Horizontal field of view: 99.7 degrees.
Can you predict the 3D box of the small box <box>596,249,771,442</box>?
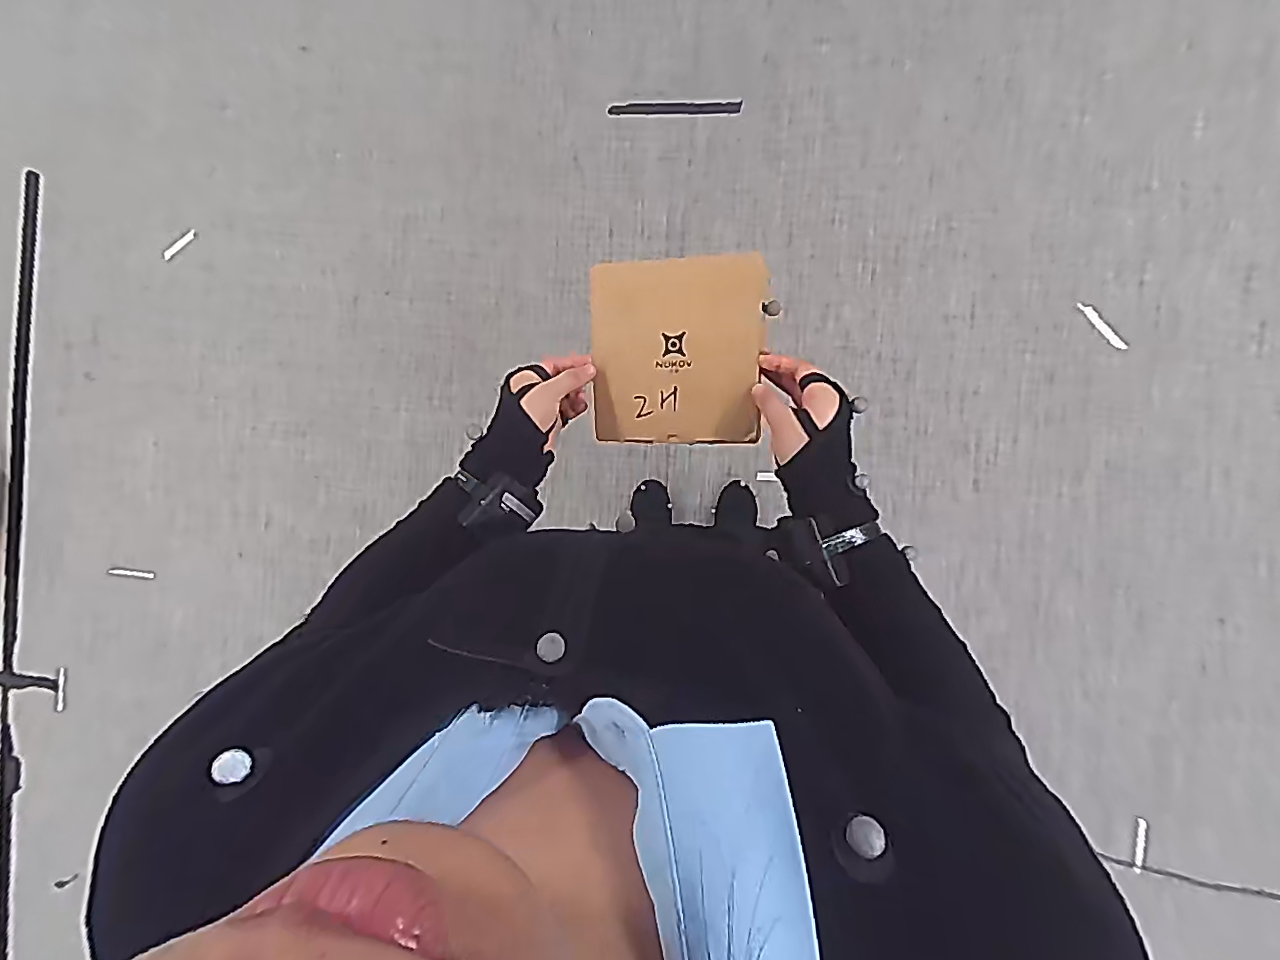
[{"bbox_3d":[0.056,-0.138,0.591,0.168,0.176,0.179,2,102,14],"label":"small box"}]
